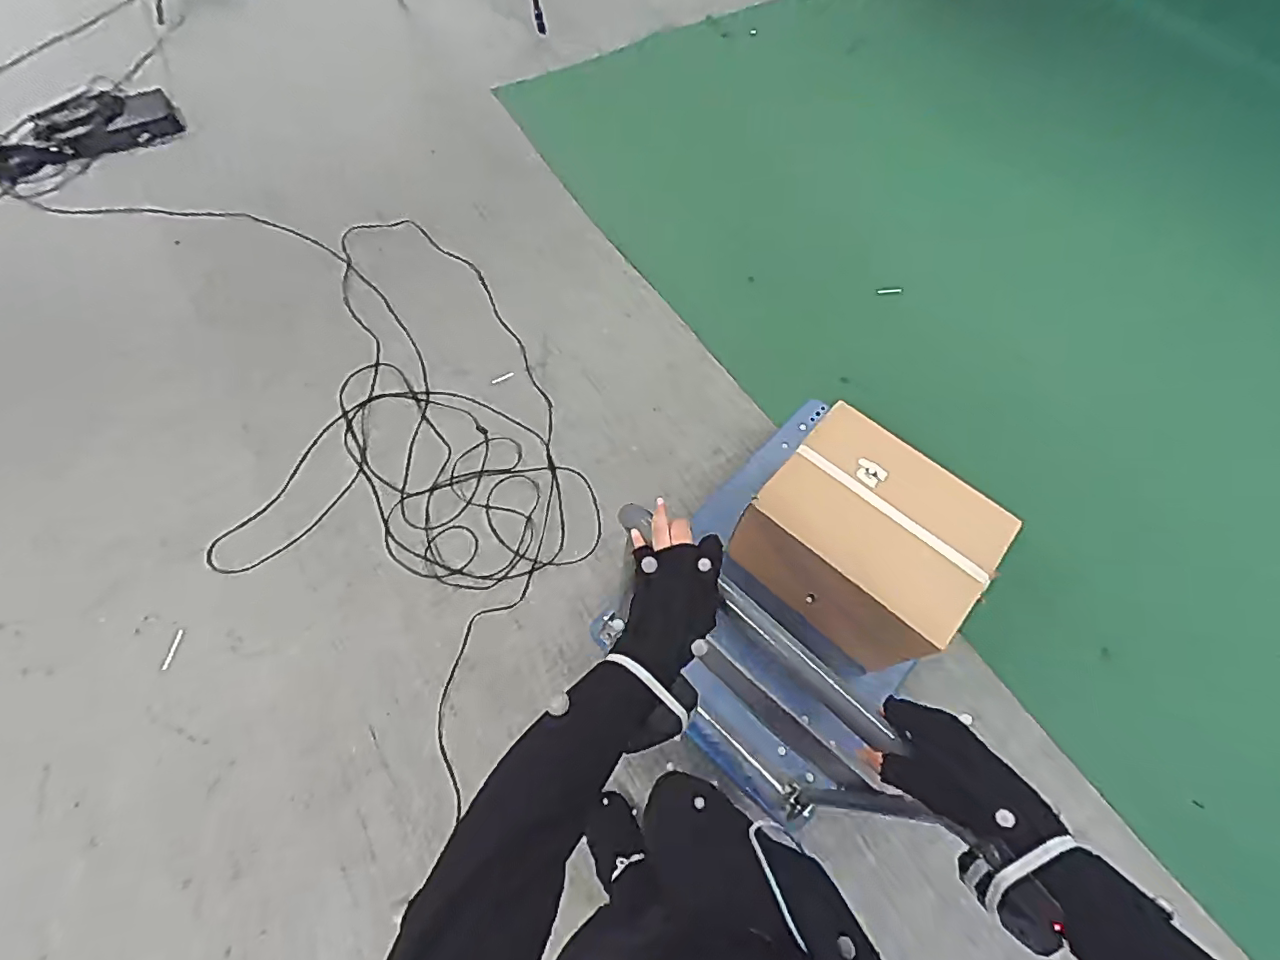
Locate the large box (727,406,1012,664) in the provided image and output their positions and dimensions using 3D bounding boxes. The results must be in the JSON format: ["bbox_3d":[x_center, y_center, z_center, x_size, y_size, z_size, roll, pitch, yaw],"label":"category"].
[{"bbox_3d":[0.452,0.127,1.151,0.408,0.320,0.320,39,69,16],"label":"large box"}]
